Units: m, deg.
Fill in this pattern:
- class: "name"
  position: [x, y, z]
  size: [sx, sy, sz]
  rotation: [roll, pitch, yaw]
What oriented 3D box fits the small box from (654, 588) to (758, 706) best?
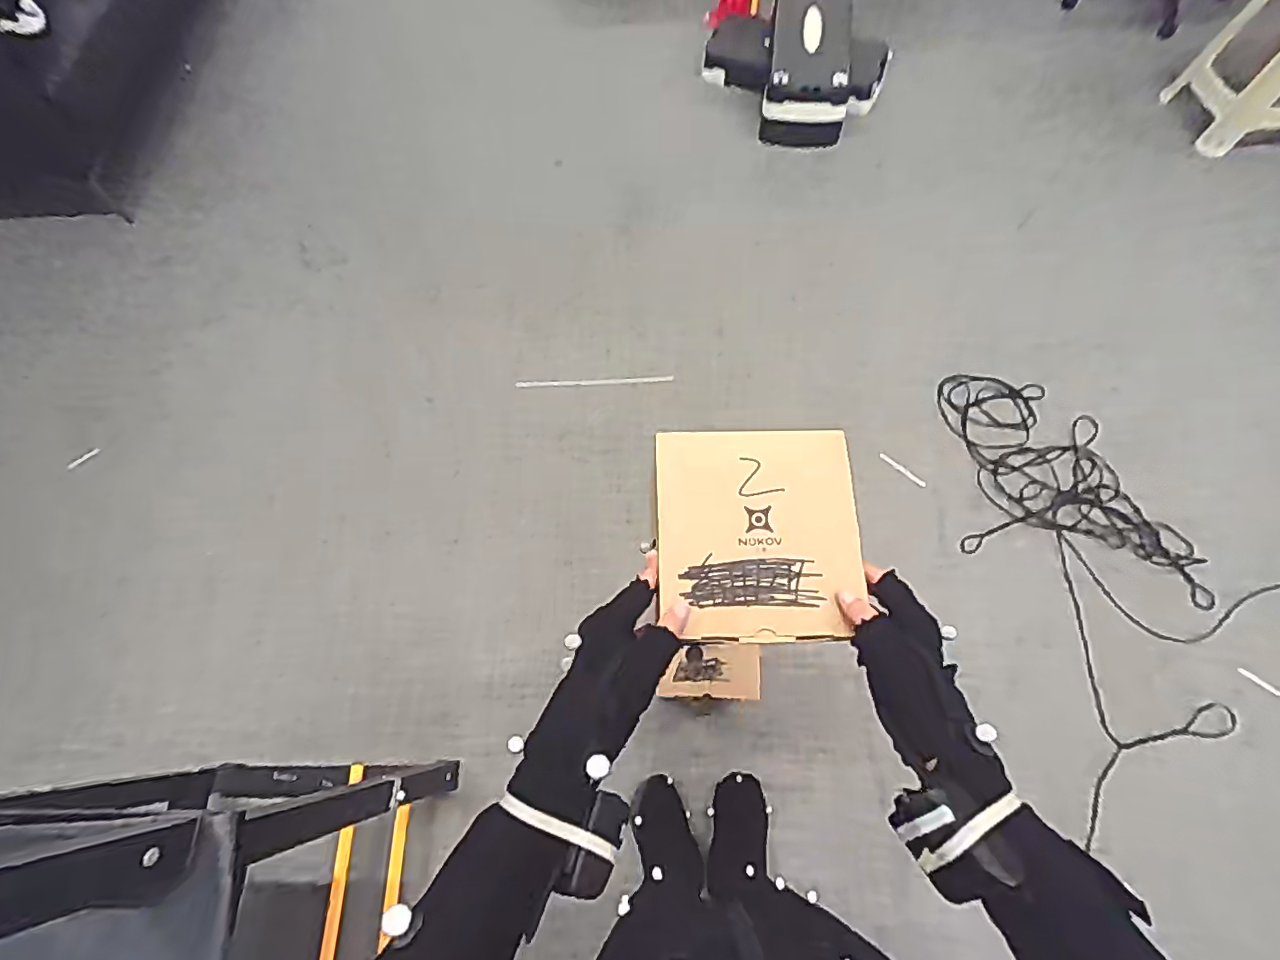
- class: "small box"
  position: [0.114, 0.297, 0.949]
  size: [0.168, 0.176, 0.179]
  rotation: [2, 67, 4]
